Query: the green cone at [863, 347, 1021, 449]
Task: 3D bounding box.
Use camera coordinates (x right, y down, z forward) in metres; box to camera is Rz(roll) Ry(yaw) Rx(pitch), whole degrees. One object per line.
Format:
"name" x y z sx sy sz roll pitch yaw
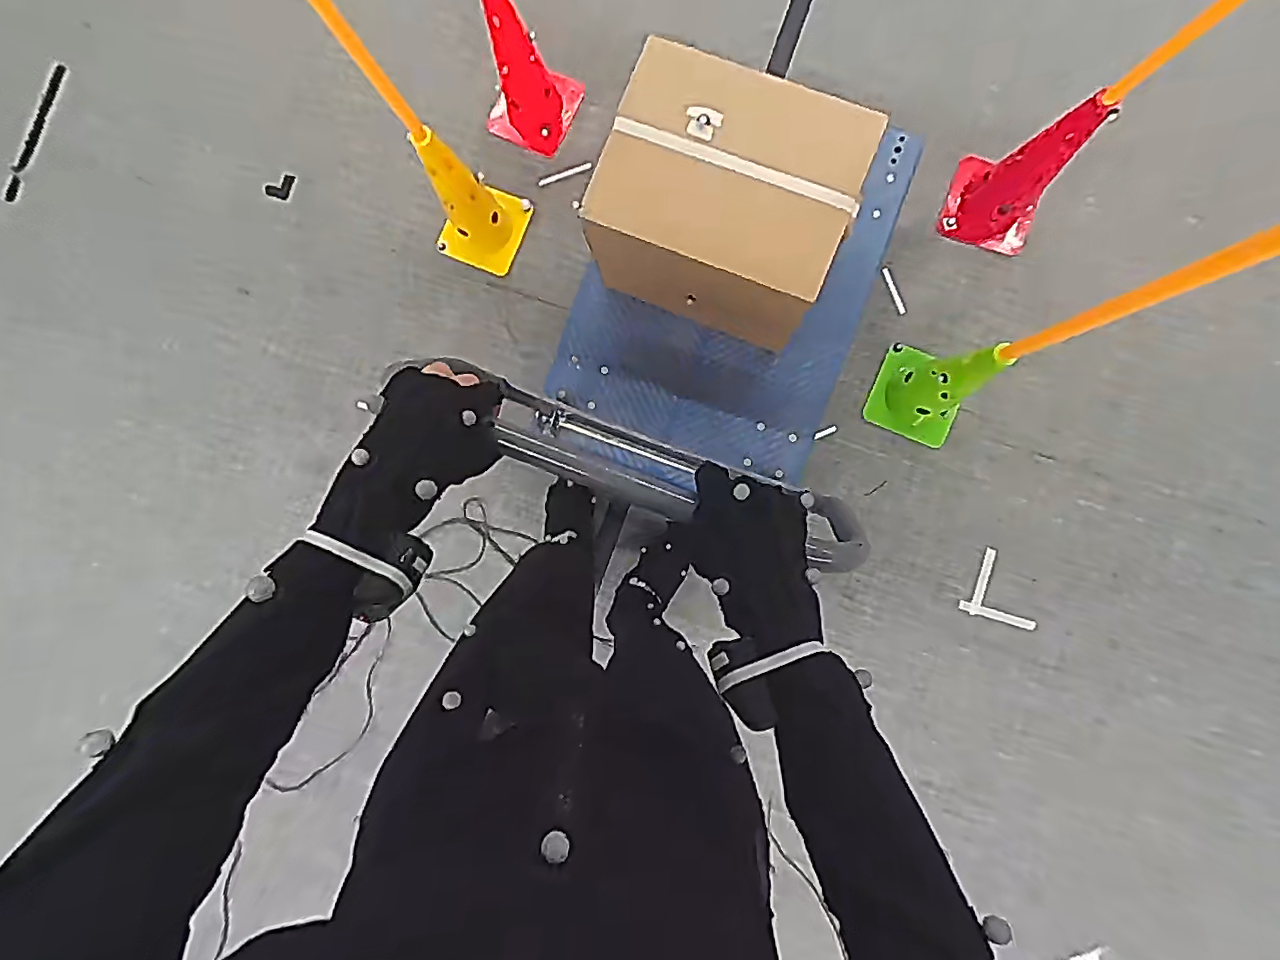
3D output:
"green cone" 0.641 -0.200 1.107 0.202 0.368 0.200 23 90 4

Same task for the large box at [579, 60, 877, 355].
"large box" 0.152 -0.473 1.014 0.408 0.320 0.320 22 90 6

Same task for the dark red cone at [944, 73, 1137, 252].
"dark red cone" 0.817 -0.652 1.094 0.201 0.394 0.202 19 90 3

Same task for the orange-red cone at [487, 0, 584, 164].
"orange-red cone" -0.274 -0.936 1.211 0.198 0.360 0.199 27 89 4
